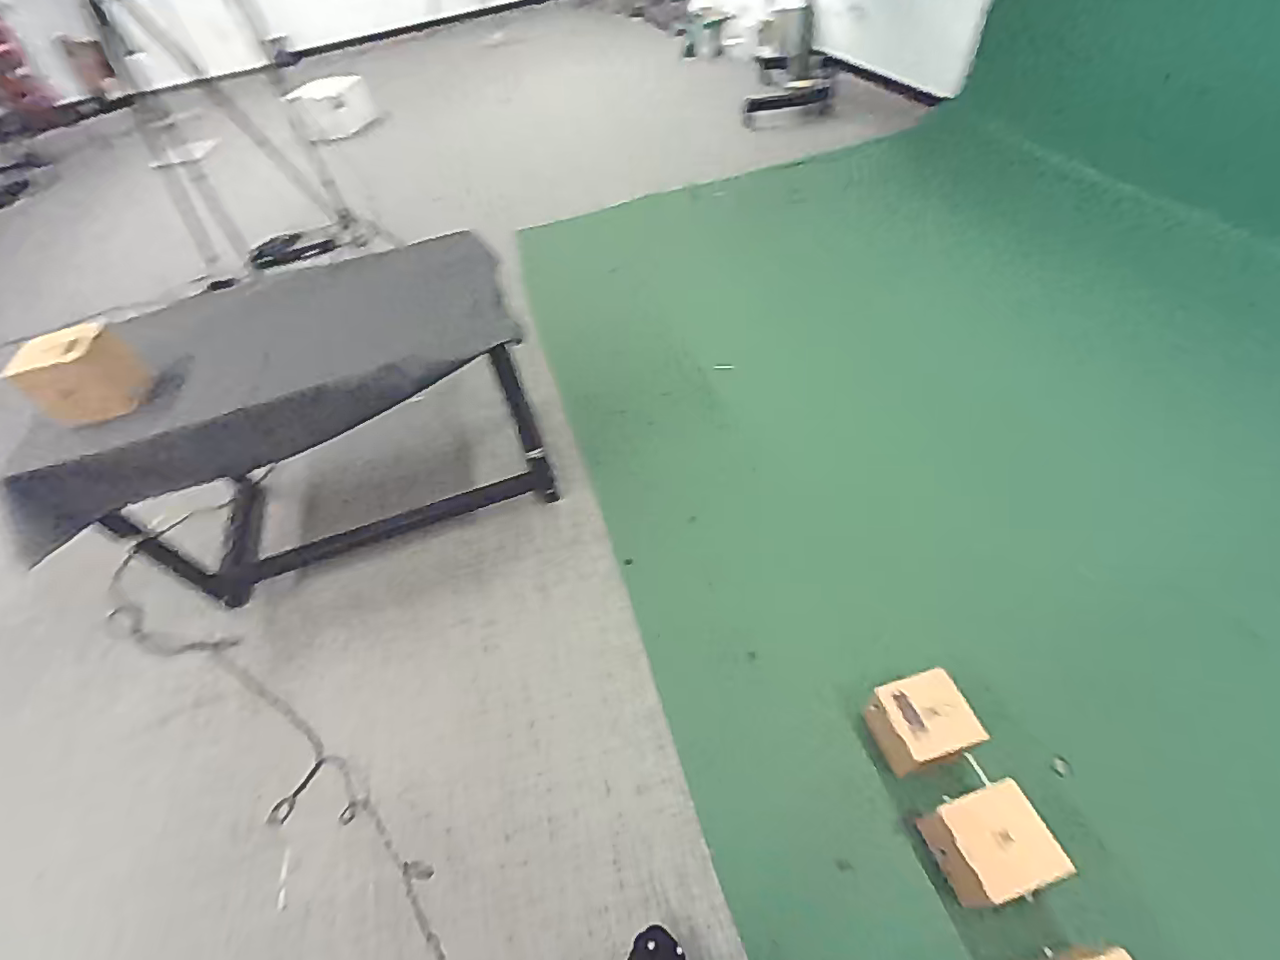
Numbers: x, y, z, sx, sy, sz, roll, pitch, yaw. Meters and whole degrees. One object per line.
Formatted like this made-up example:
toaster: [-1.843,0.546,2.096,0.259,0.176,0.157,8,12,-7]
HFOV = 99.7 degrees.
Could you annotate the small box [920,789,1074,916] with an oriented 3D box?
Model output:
small box: [0.715,0.763,1.109,0.179,0.176,0.168,-18,50,-5]

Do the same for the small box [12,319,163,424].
small box: [-1.351,-0.266,1.342,0.179,0.176,0.168,-16,49,-4]

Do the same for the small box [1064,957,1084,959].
small box: [0.785,0.961,0.930,0.168,0.176,0.179,-15,50,-4]
